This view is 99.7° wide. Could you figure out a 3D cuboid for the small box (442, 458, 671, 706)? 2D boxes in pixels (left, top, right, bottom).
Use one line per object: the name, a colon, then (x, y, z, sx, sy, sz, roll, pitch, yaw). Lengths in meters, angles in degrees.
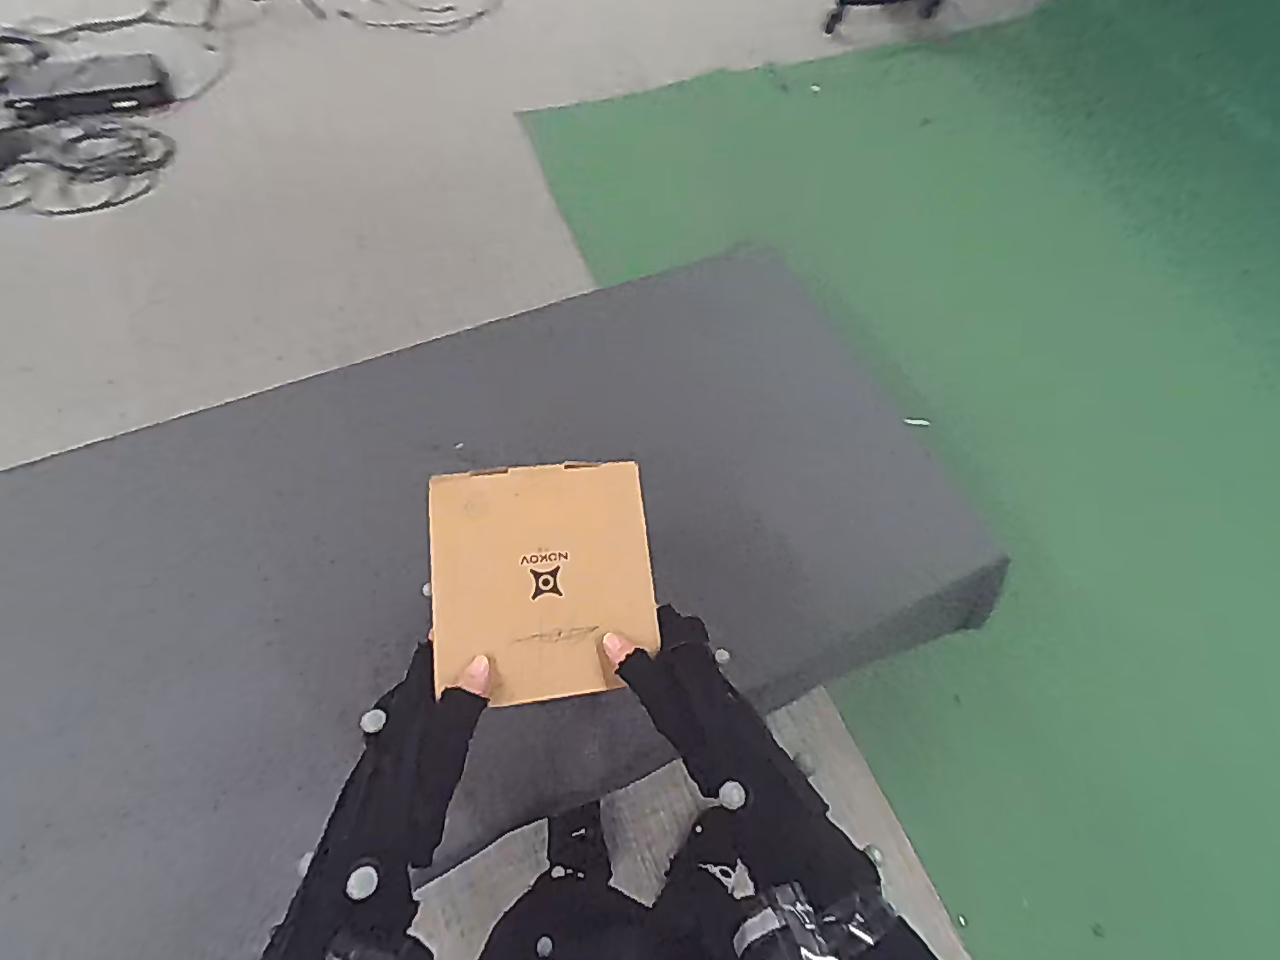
small box: (-0.078, 0.090, 0.488, 0.168, 0.176, 0.179, -5, 77, -10)
